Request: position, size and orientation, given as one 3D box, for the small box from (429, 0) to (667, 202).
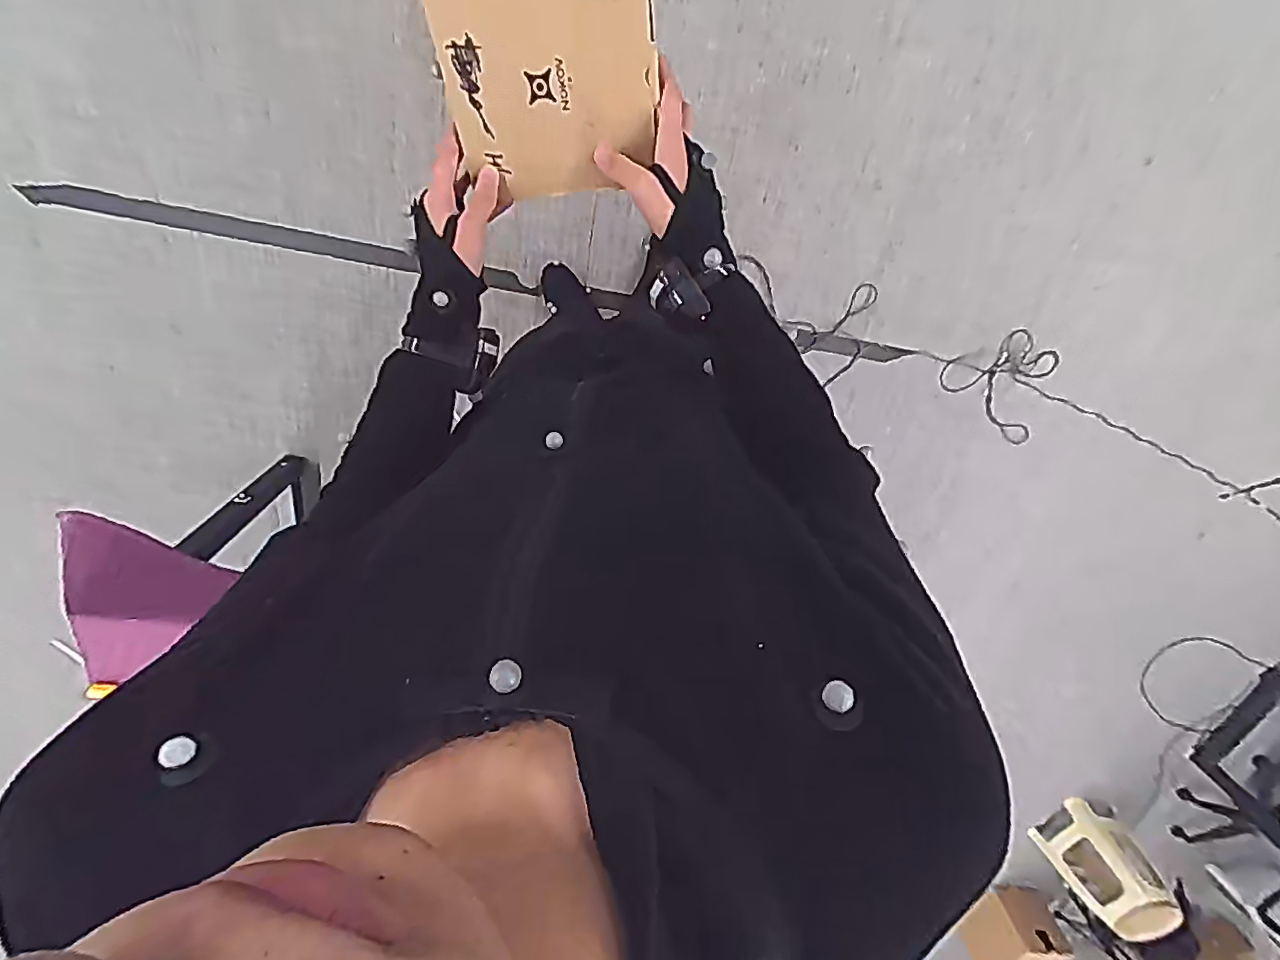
[{"bbox_3d":[-0.071,-0.377,0.502,0.179,0.176,0.168,-4,132,3],"label":"small box"}]
